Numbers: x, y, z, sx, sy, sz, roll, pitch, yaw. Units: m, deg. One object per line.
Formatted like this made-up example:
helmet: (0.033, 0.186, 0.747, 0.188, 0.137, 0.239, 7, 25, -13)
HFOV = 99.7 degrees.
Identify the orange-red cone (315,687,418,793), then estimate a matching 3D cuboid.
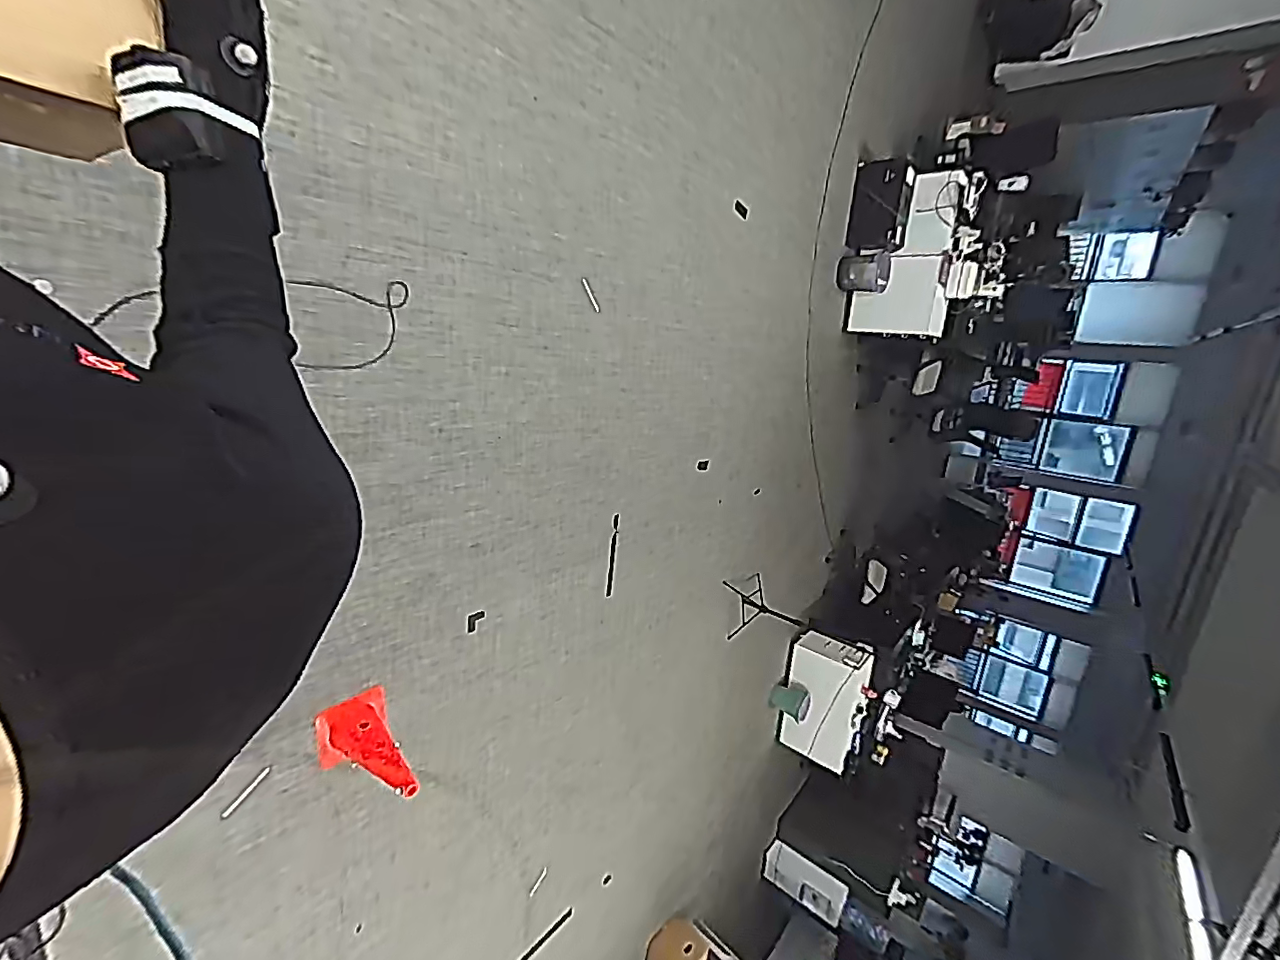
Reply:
orange-red cone: (-0.750, 0.786, 1.551, 0.198, 0.360, 0.199, -16, 114, -49)

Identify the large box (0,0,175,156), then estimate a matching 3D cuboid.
large box: (-0.571, -0.420, 0.294, 0.408, 0.320, 0.320, -13, 115, -52)
